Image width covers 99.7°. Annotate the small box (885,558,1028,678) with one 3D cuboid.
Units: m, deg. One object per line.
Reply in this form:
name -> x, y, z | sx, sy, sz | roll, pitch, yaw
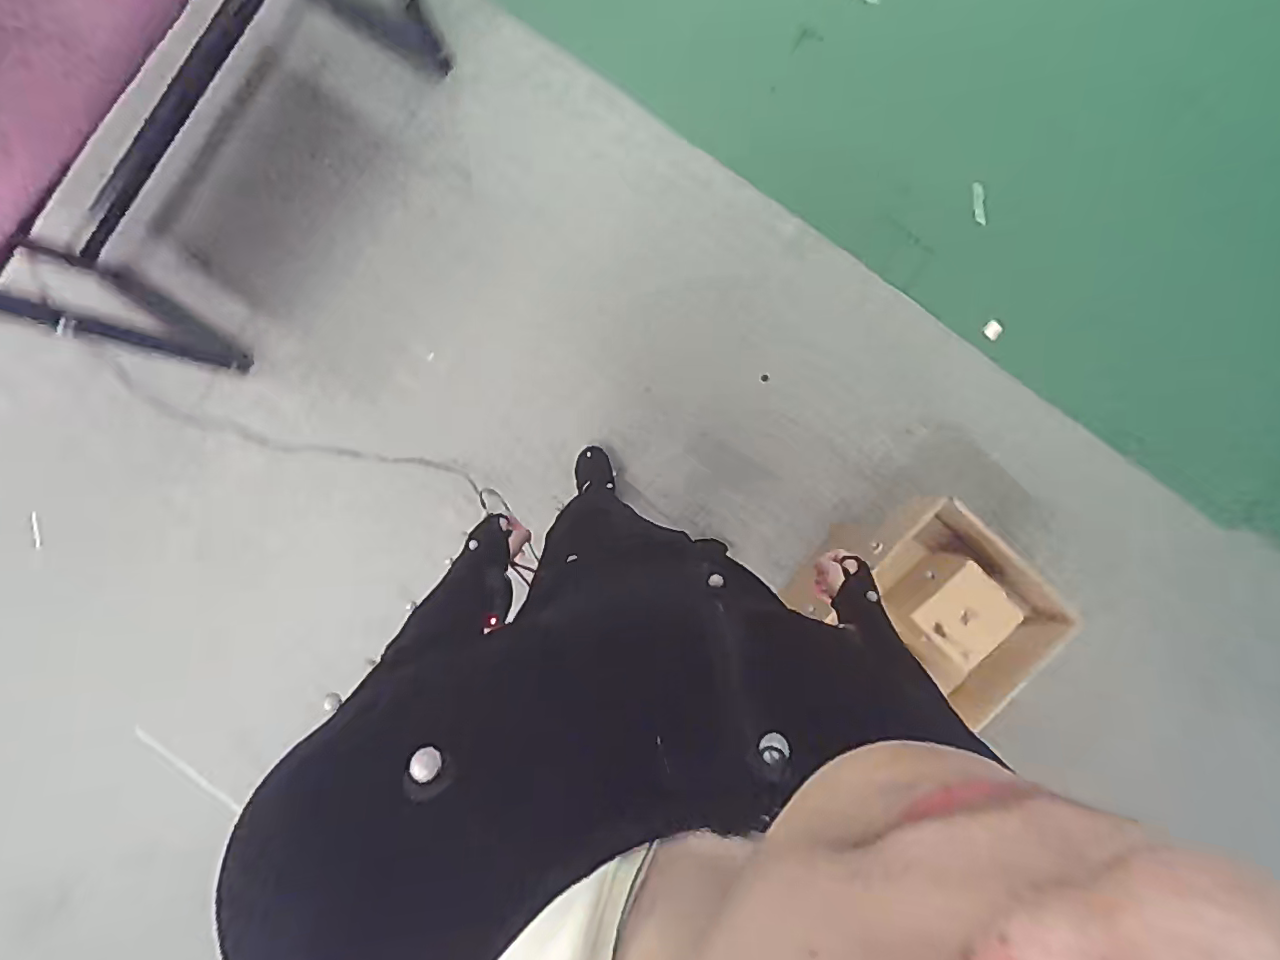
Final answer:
small box -> 0.683, 0.292, 1.190 | 0.179, 0.176, 0.168 | -43, 88, 1
